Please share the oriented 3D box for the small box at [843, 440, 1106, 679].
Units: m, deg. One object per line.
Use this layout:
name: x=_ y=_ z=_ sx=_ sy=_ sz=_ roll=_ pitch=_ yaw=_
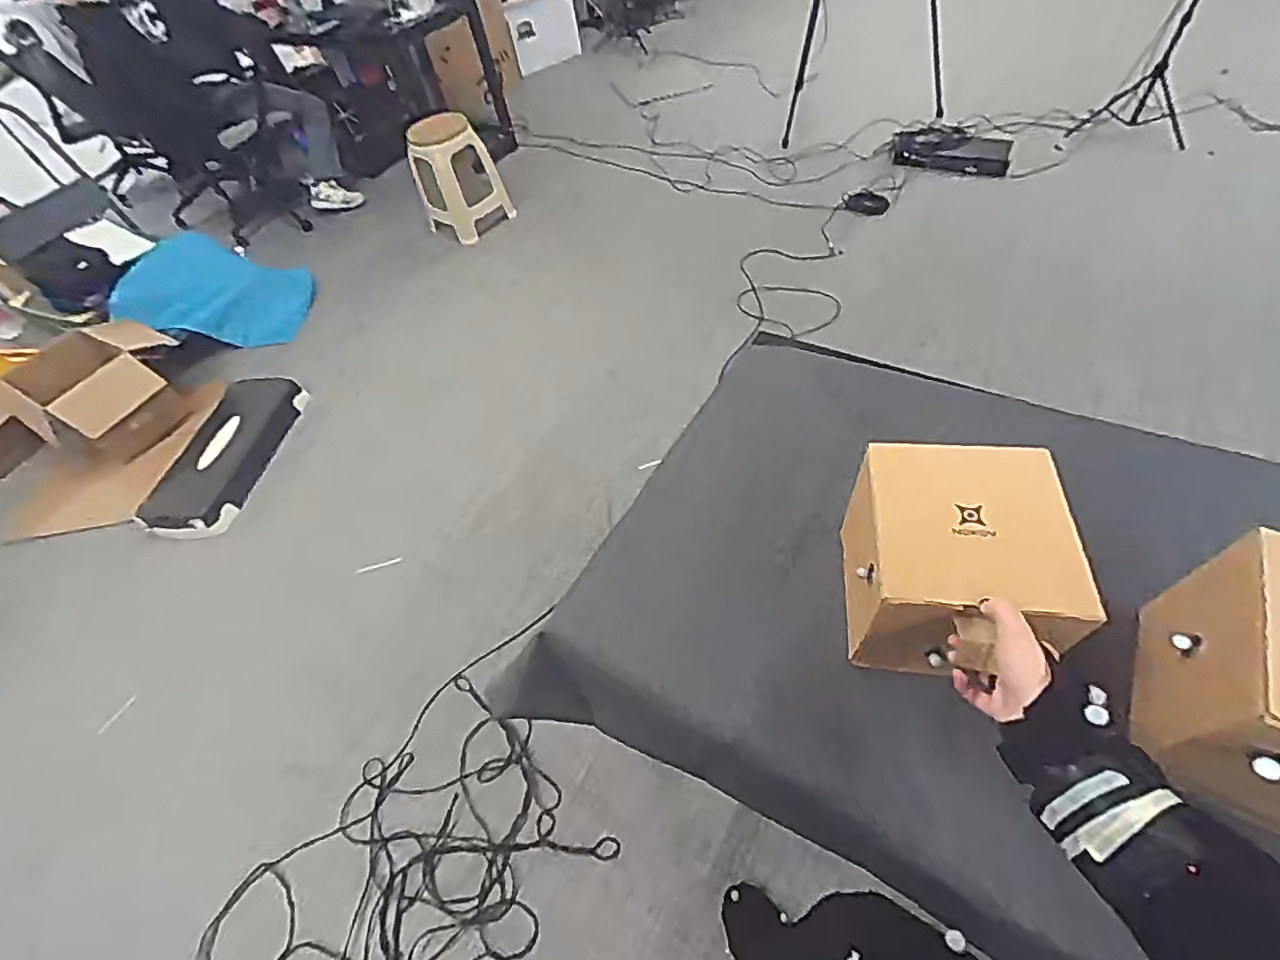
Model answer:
small box: x=0.308 y=0.082 z=0.548 sx=0.168 sy=0.176 sz=0.179 roll=3 pitch=55 yaw=11
